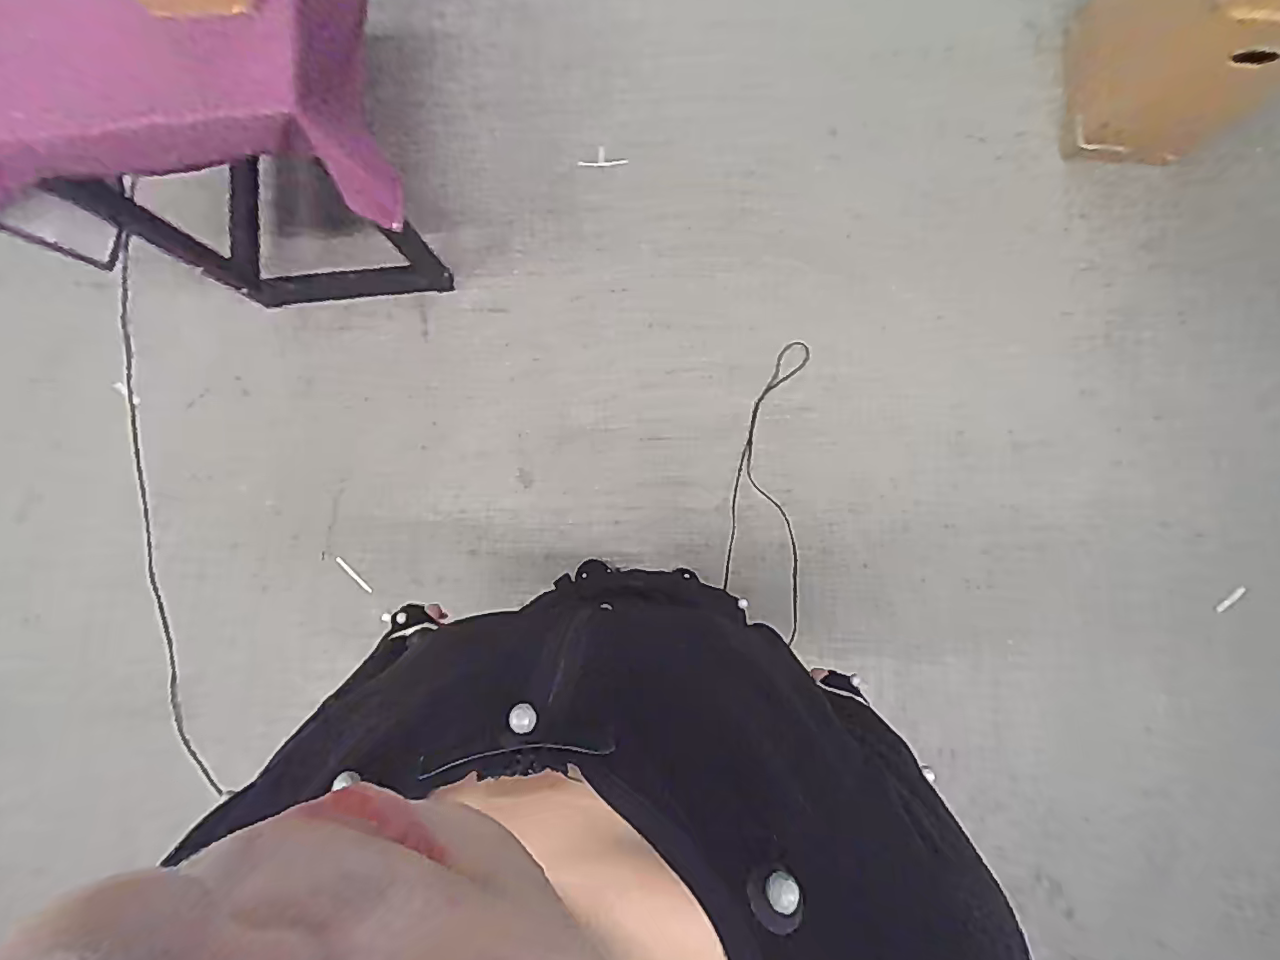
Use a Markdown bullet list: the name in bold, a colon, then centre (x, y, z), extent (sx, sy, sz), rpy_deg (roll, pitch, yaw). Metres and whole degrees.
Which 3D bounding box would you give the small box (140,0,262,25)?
- **small box**: centre (-0.717, -0.843, 0.826), extent (0.179, 0.176, 0.168), rpy_deg (1, 86, 2)

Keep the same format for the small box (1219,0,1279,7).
- **small box**: centre (1.276, -1.061, 1.037), extent (0.179, 0.176, 0.168), rpy_deg (6, 85, 1)
